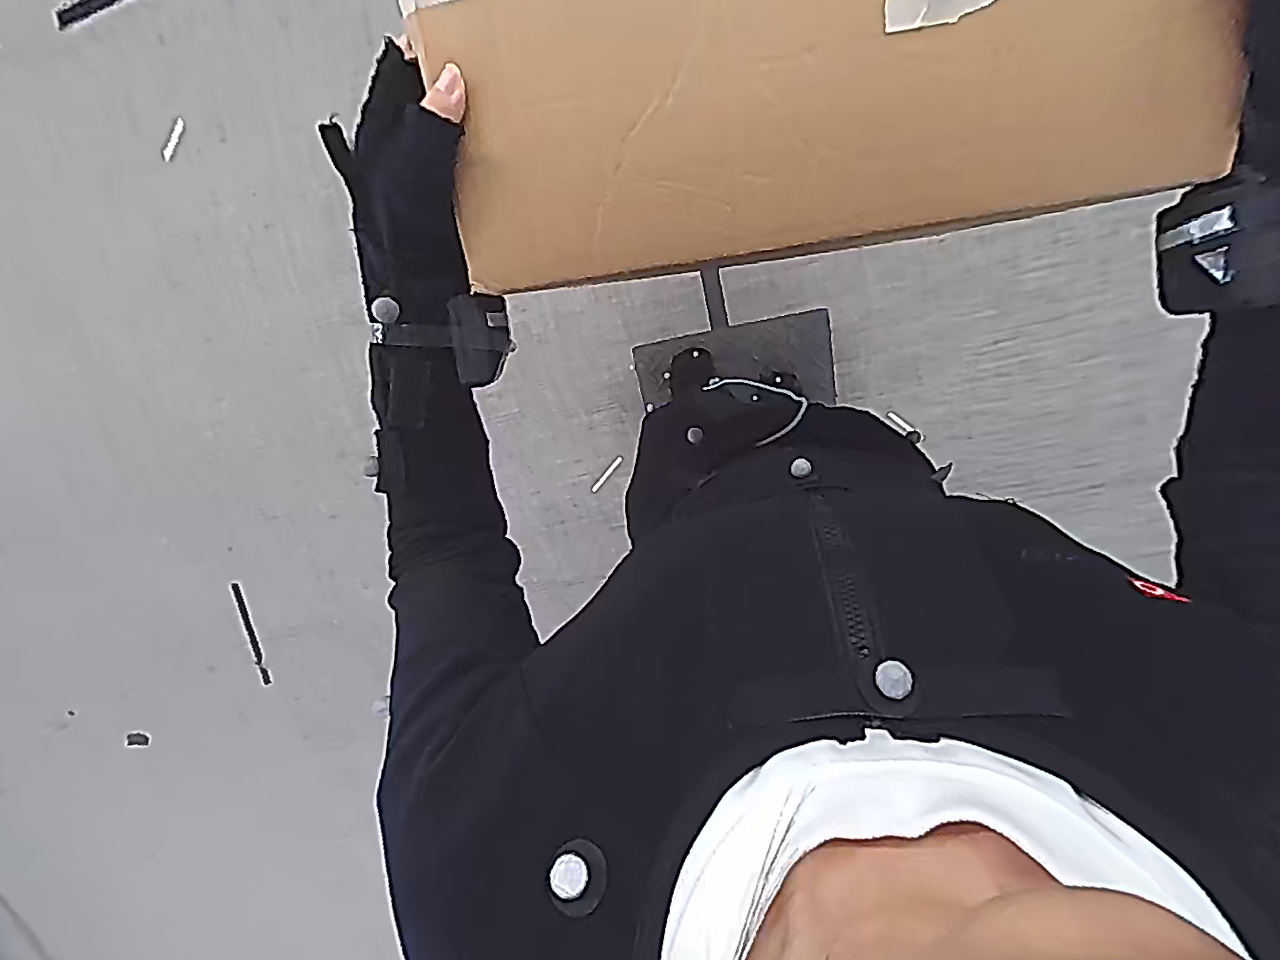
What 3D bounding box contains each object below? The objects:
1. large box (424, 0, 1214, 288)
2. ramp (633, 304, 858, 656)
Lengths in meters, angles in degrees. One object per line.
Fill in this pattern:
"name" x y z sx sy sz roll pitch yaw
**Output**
"large box" 0.088 -0.339 0.408 0.408 0.320 0.320 -6 110 9
"ramp" 0.322 0.066 1.513 0.509 0.206 0.991 -11 100 10
